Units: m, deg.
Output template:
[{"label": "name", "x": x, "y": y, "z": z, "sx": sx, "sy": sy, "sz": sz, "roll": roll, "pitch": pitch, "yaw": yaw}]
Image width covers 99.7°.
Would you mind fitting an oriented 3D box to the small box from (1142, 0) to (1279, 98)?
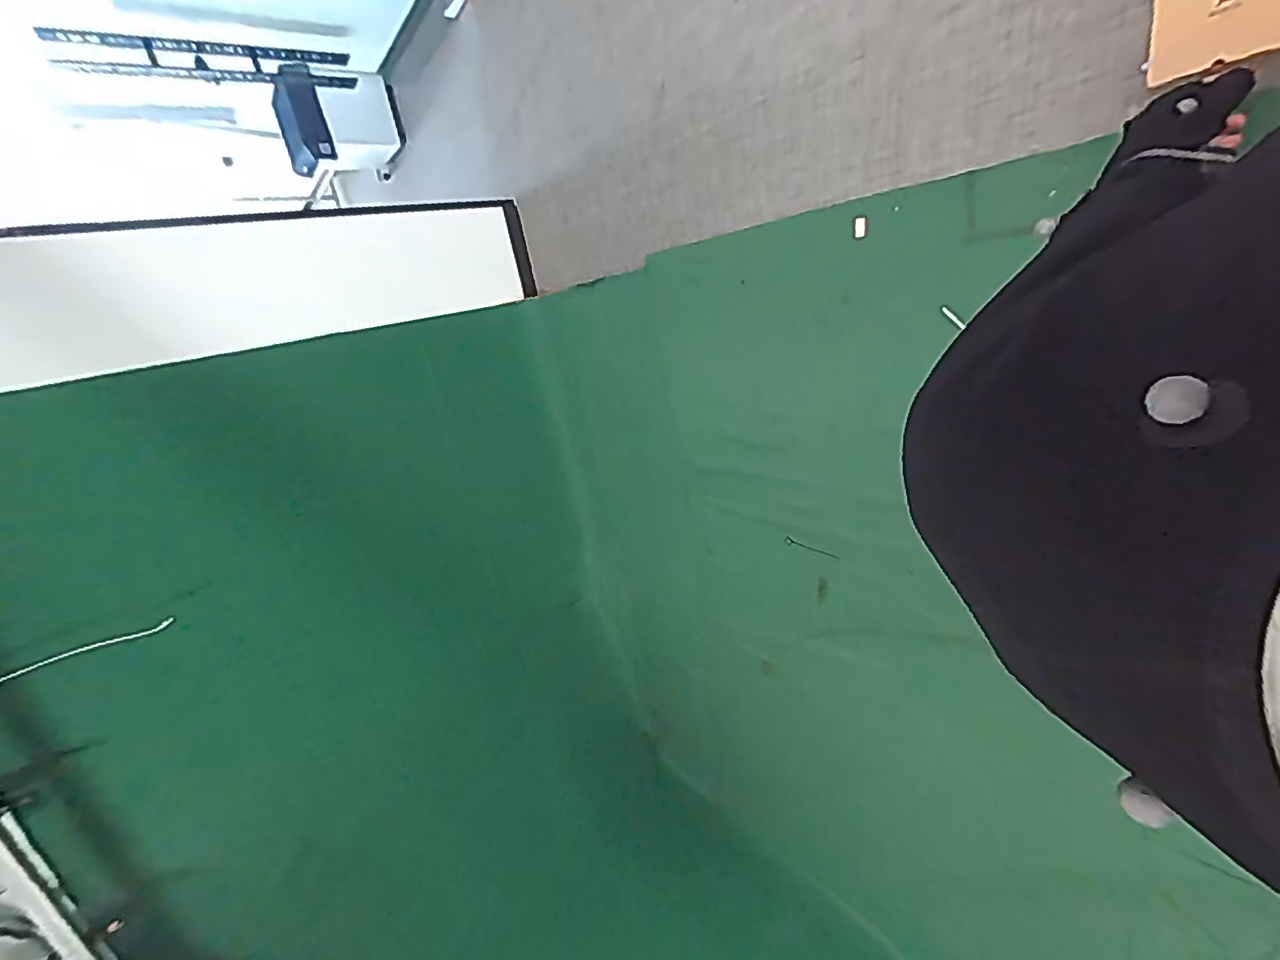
[{"label": "small box", "x": 0.929, "y": -0.737, "z": 0.852, "sx": 0.168, "sy": 0.176, "sz": 0.179, "roll": 12, "pitch": 119, "yaw": 51}]
